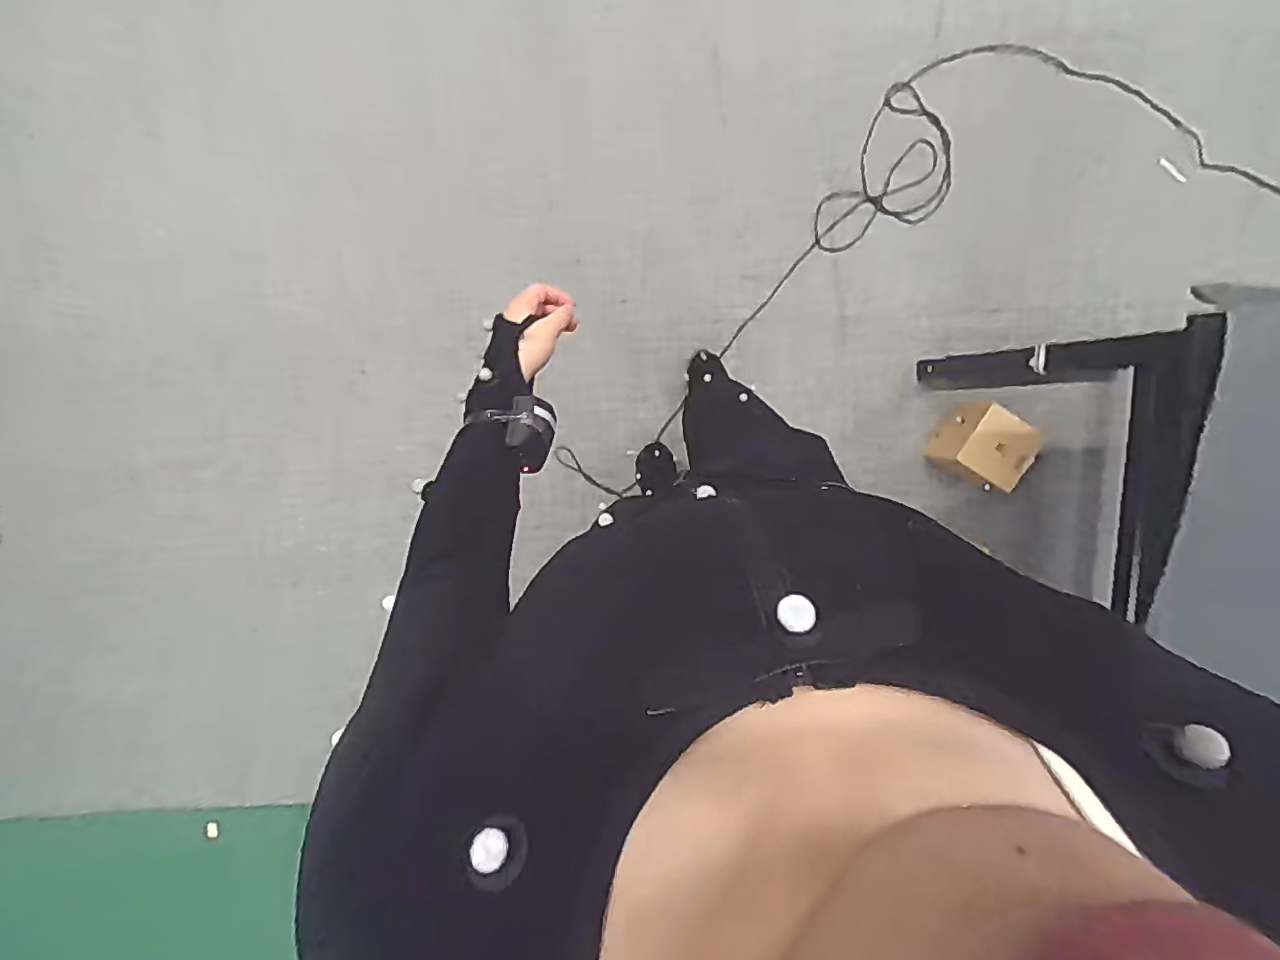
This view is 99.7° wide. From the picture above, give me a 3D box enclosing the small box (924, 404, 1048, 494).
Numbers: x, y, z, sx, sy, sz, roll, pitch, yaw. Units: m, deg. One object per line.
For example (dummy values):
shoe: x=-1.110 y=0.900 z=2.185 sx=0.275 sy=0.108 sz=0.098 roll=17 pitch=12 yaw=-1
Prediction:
small box: x=0.890 y=-0.084 z=1.412 sx=0.179 sy=0.176 sz=0.168 roll=30 pitch=96 yaw=-6
